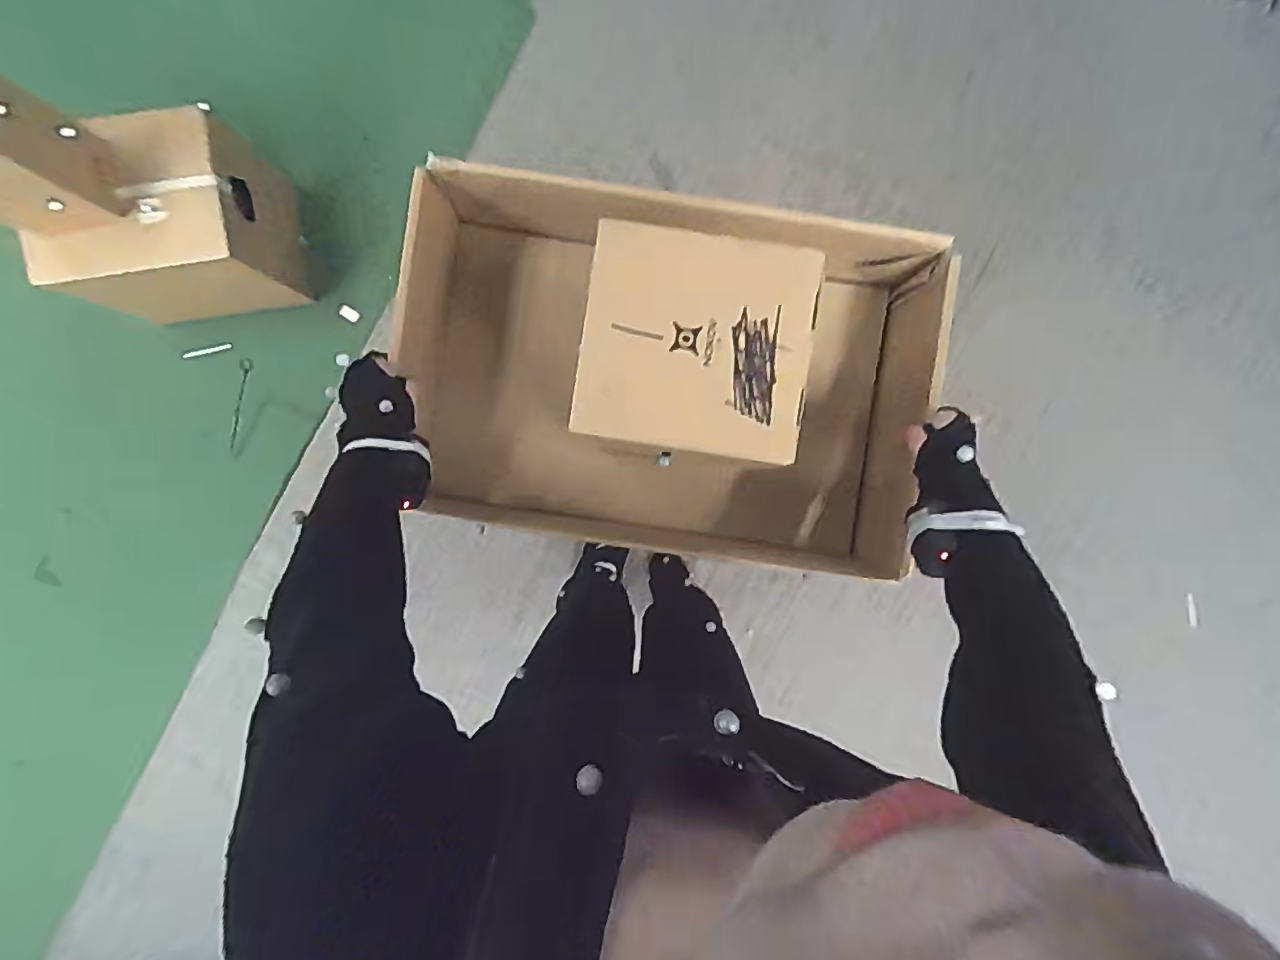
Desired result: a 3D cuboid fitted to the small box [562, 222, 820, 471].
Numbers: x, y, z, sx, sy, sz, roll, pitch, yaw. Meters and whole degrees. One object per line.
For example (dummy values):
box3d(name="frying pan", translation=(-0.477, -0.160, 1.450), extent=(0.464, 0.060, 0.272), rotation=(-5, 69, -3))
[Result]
box3d(name="small box", translation=(0.038, -0.102, 0.486), extent=(0.179, 0.176, 0.168), rotation=(8, 91, 0))
